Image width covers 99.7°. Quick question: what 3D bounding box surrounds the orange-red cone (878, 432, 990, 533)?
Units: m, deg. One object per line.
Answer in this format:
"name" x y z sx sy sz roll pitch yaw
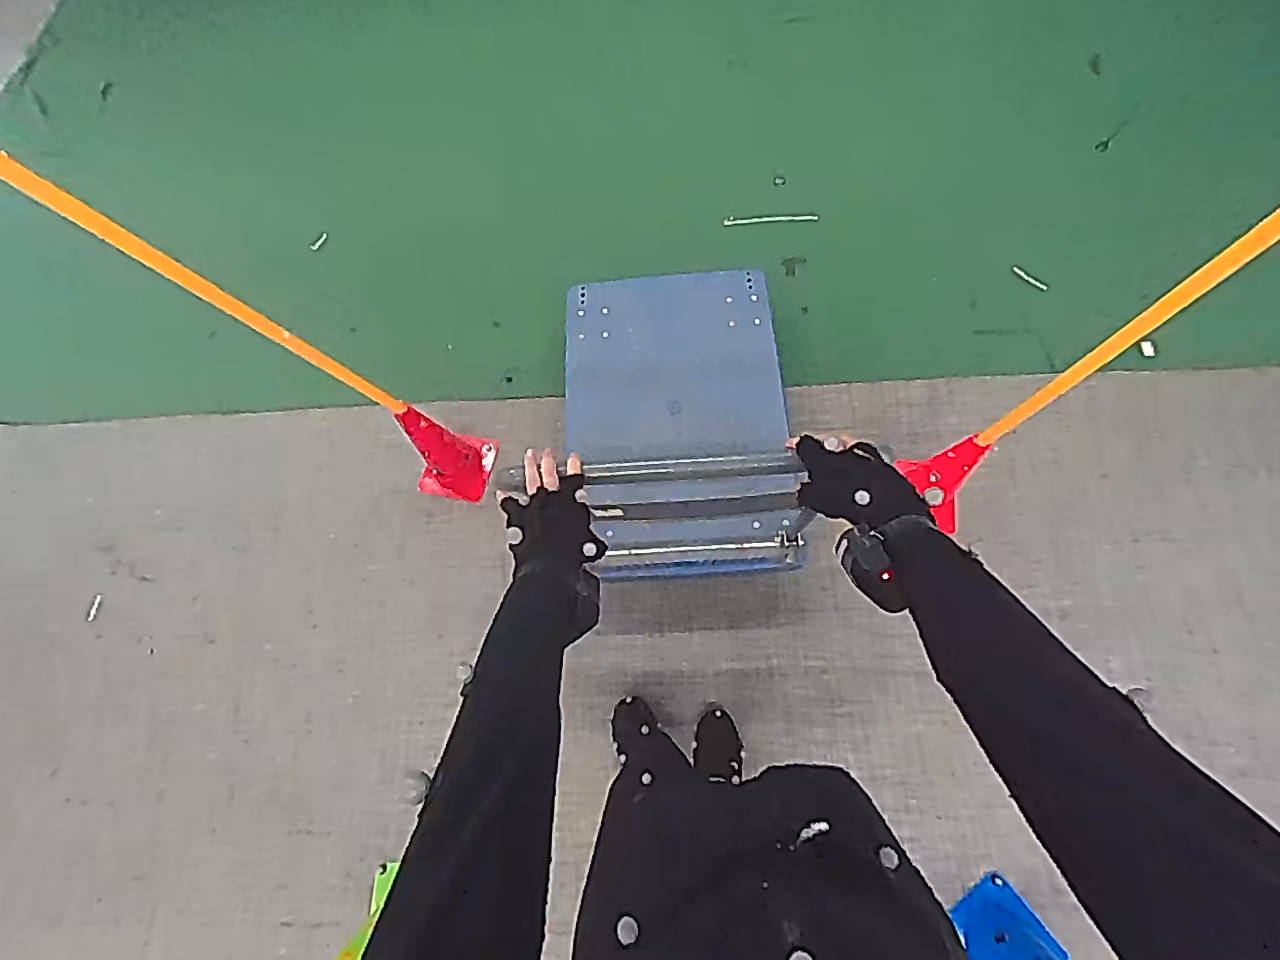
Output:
"orange-red cone" 0.728 -0.021 1.288 0.198 0.360 0.199 8 71 9
